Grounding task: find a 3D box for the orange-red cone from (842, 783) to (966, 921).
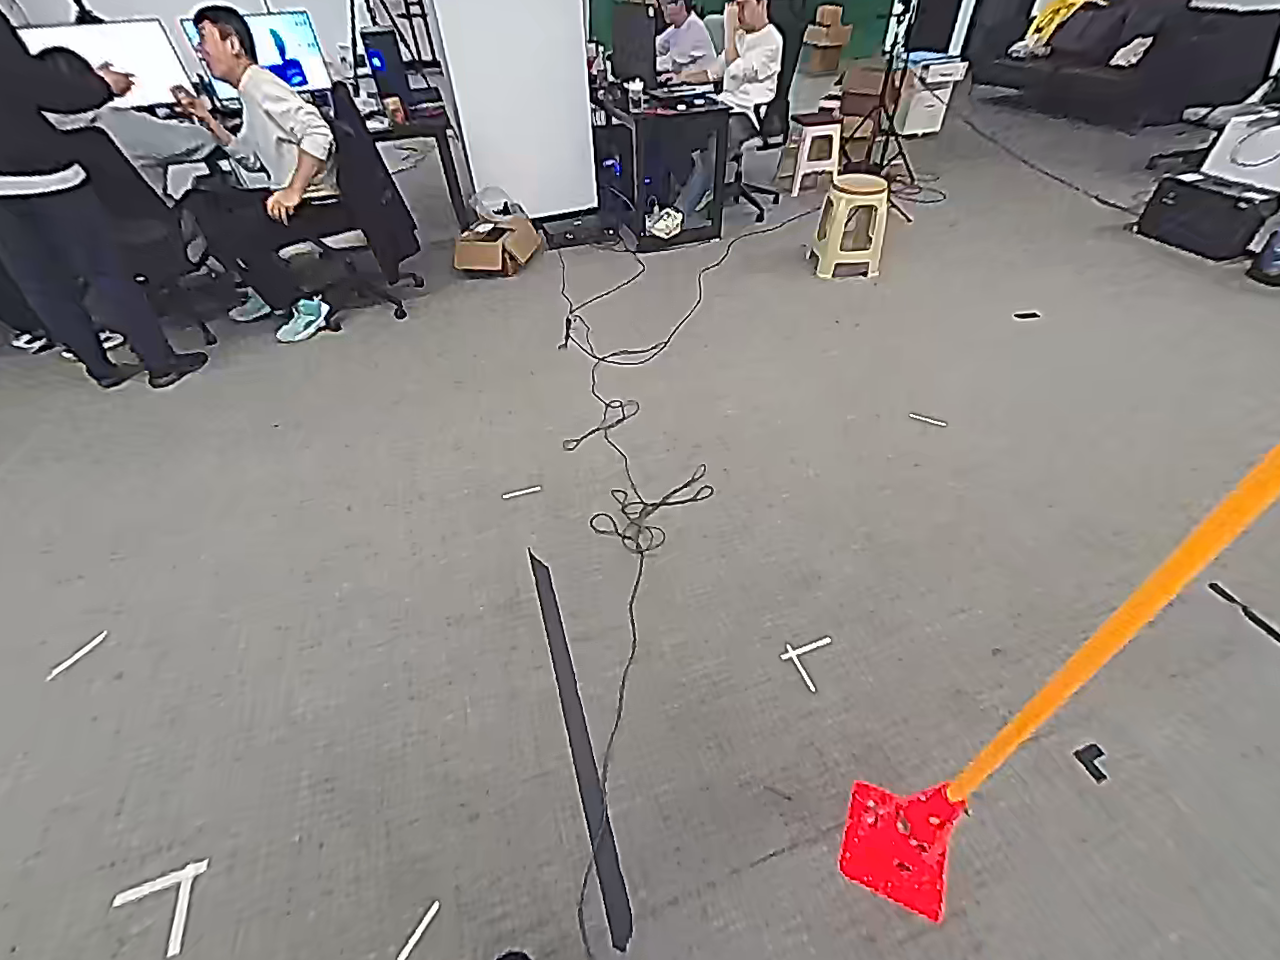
[{"bbox_3d":[0.530,0.647,1.012,0.198,0.360,0.199,18,49,21],"label":"orange-red cone"}]
